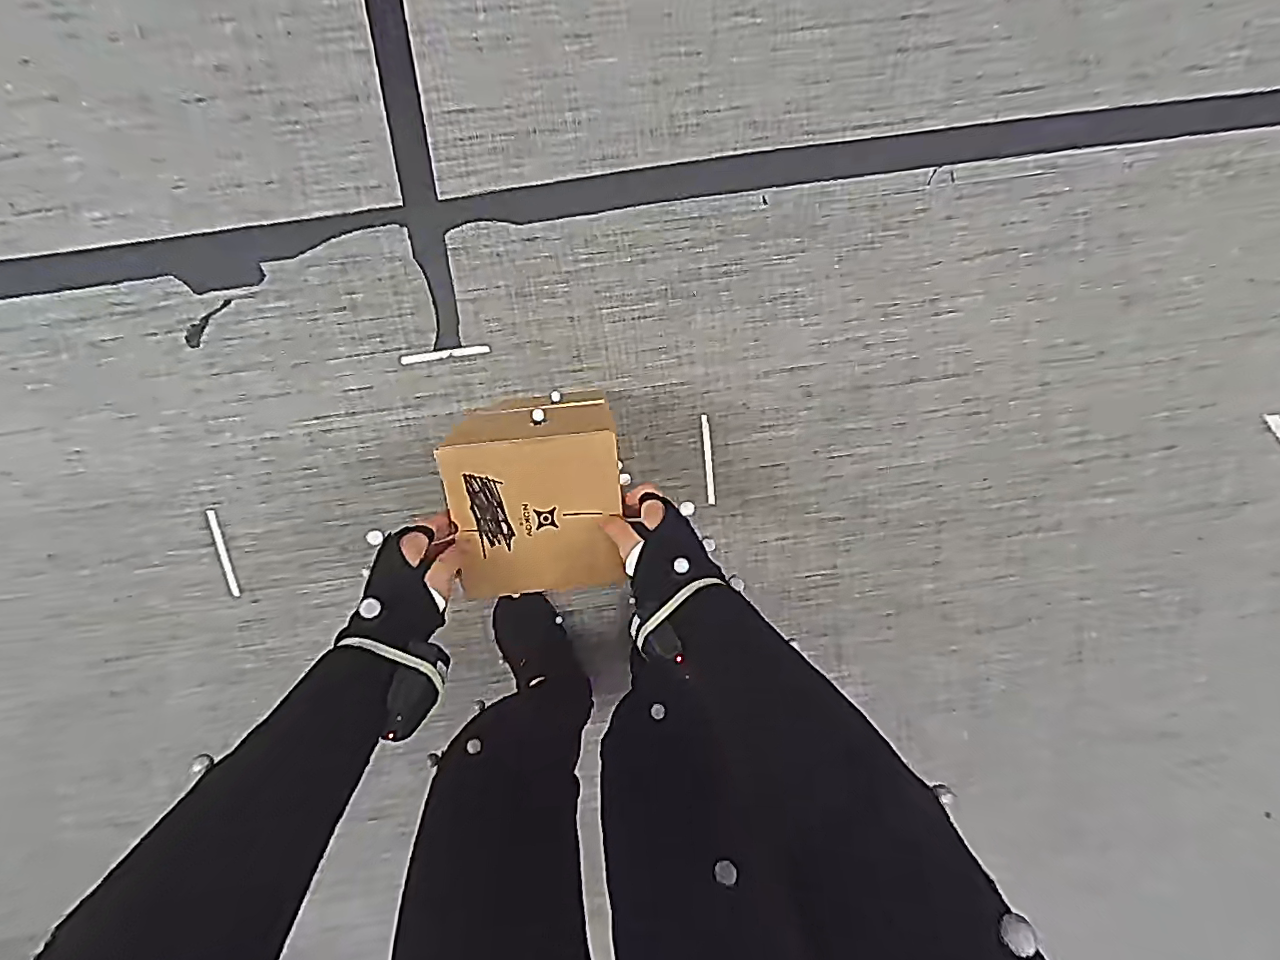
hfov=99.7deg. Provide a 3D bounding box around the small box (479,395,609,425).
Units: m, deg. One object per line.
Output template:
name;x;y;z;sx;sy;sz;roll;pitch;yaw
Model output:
small box;-0.122;-0.023;0.789;0.168;0.176;0.179;-6;105;-2

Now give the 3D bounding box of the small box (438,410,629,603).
small box;-0.111;0.019;0.622;0.179;0.176;0.168;-7;108;-5
